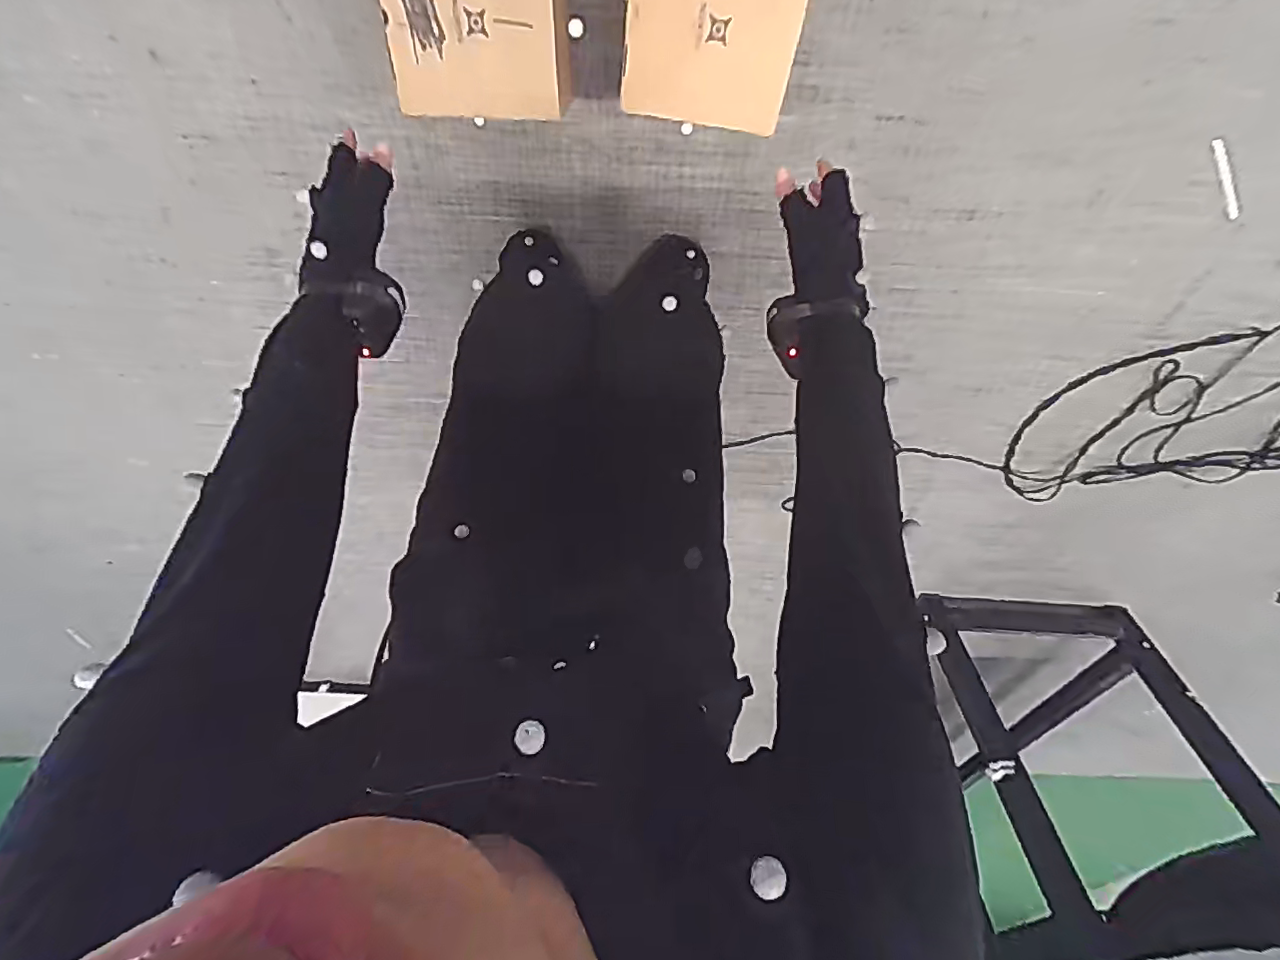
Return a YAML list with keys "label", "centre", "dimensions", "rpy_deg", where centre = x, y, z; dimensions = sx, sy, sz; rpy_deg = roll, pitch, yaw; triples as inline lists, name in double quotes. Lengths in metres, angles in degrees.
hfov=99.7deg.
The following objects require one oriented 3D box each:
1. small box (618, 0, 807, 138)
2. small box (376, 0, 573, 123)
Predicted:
- label: "small box"
  centre: [0.074, -0.503, 0.599]
  dimensions: [0.179, 0.176, 0.168]
  rpy_deg: [7, 132, -3]
- label: "small box"
  centre: [-0.172, -0.509, 0.597]
  dimensions: [0.179, 0.176, 0.168]
  rpy_deg: [2, 132, -1]
